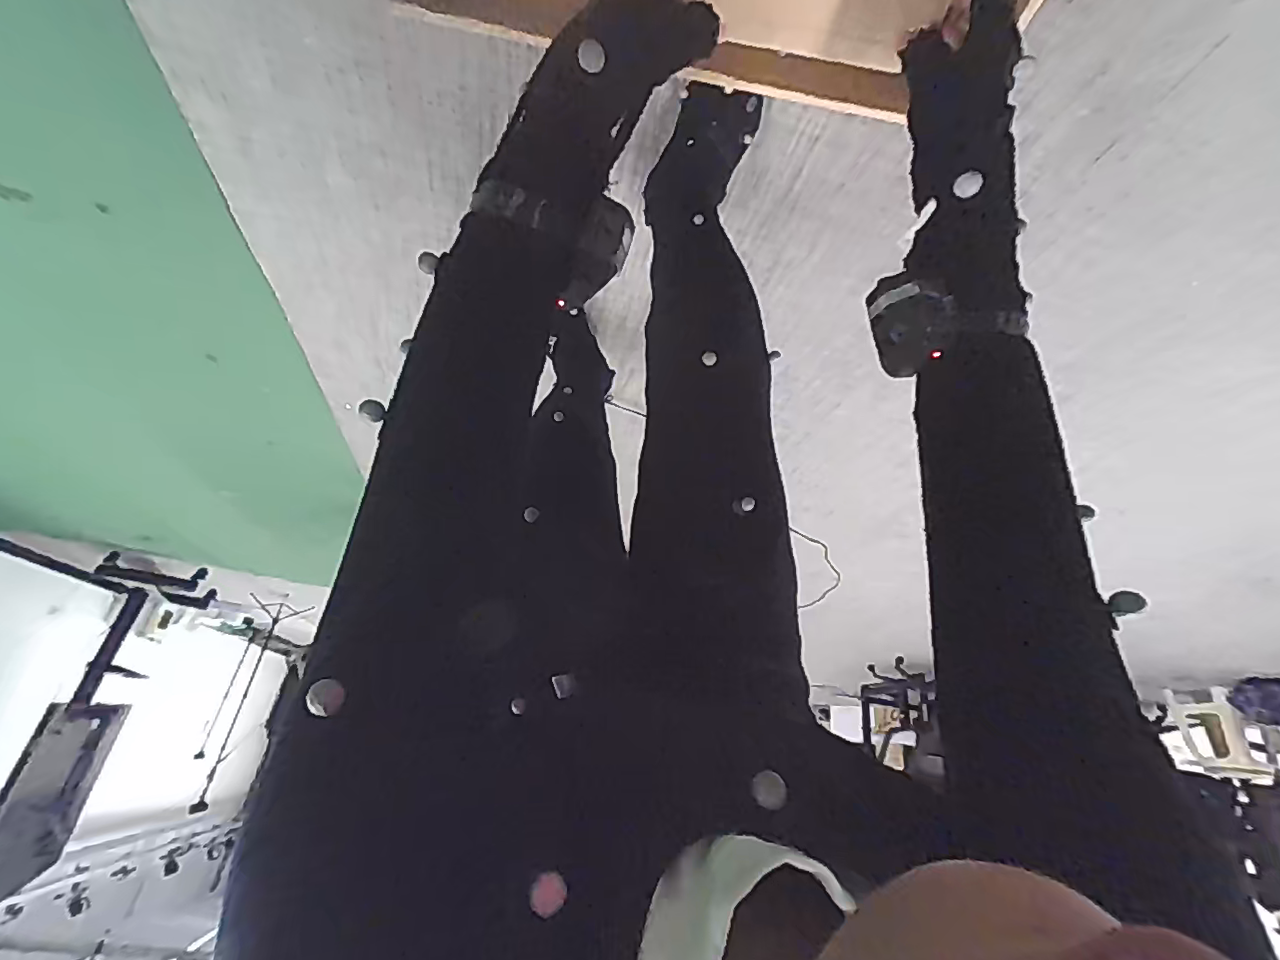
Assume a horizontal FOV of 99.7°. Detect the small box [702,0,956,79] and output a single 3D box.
[{"bbox_3d":[0.149,-0.435,0.393,0.179,0.176,0.168,7,147,-4],"label":"small box"}]
